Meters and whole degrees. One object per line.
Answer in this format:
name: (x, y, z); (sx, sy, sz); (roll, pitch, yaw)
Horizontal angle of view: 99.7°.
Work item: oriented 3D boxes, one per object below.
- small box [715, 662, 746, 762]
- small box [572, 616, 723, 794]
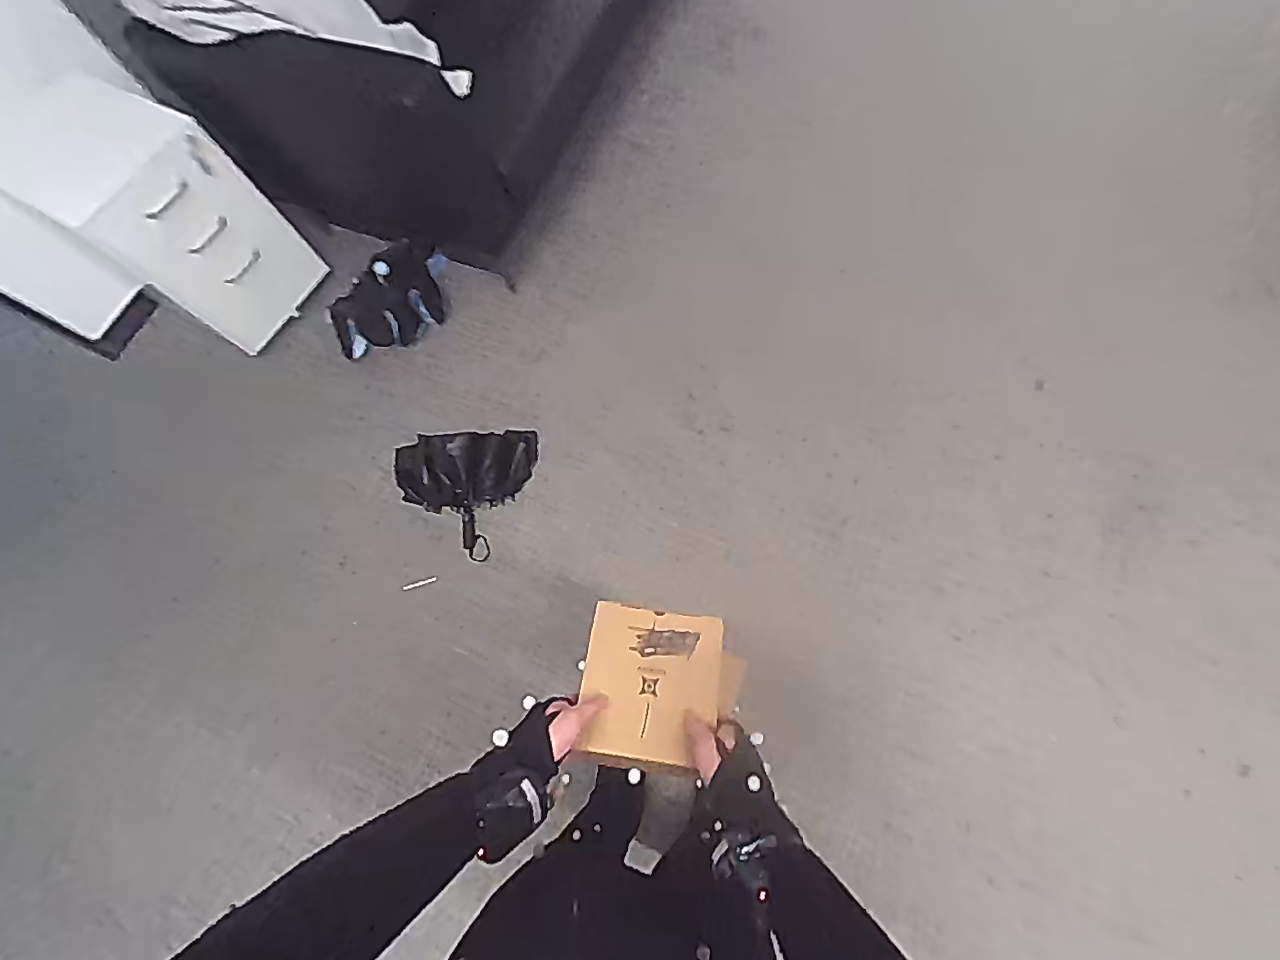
small box: (0.112, 0.456, 1.126); (0.168, 0.176, 0.179); (20, 72, 12)
small box: (0.013, 0.302, 0.717); (0.168, 0.176, 0.179); (7, 58, 4)
